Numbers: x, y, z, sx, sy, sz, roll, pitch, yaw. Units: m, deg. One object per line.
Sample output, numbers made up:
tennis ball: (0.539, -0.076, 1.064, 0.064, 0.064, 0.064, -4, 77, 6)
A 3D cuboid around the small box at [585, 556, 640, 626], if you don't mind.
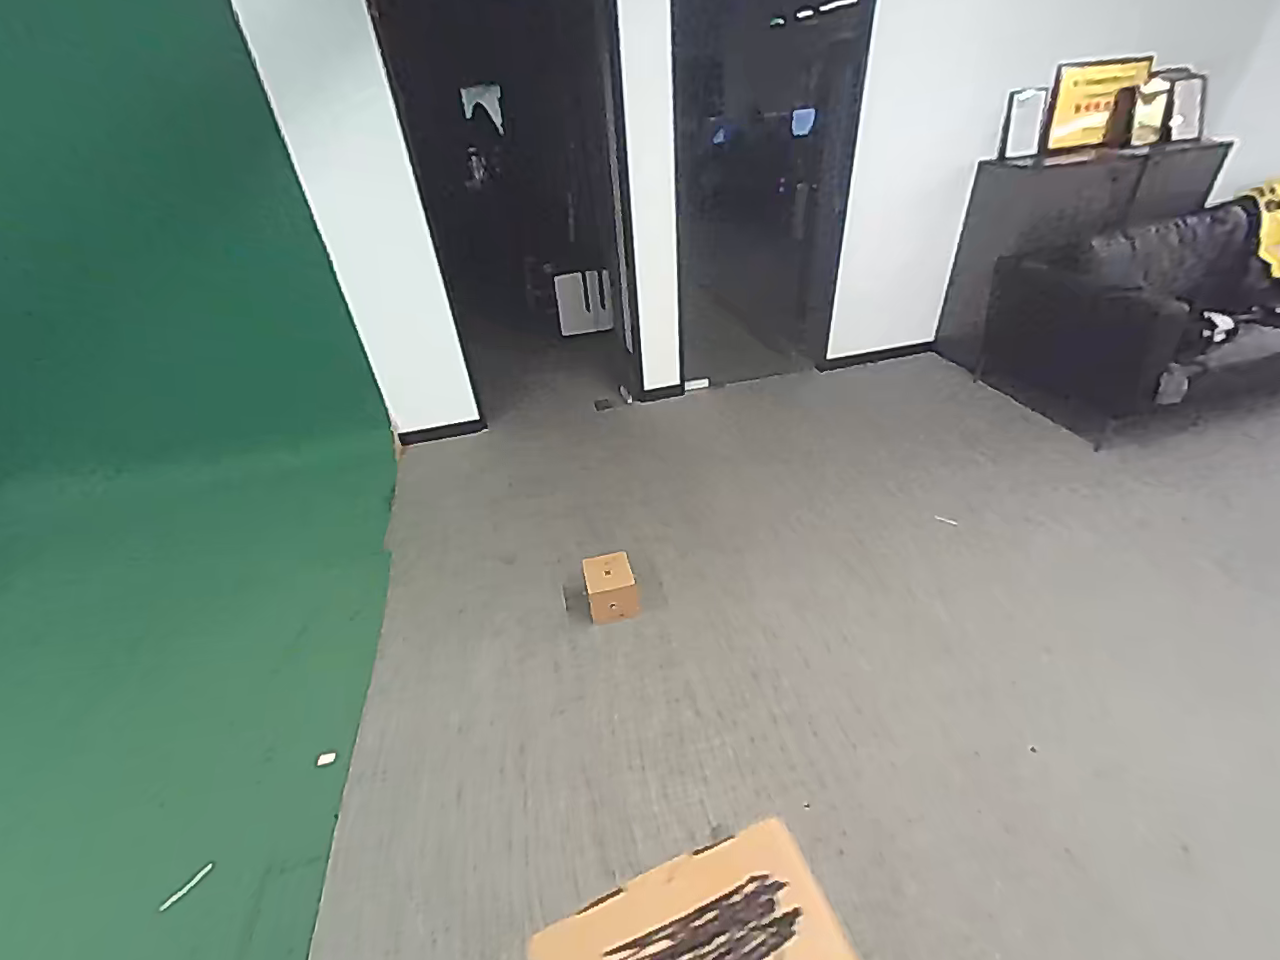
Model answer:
small box: (-0.098, 0.408, 1.961, 0.168, 0.176, 0.179, -10, 36, -8)
